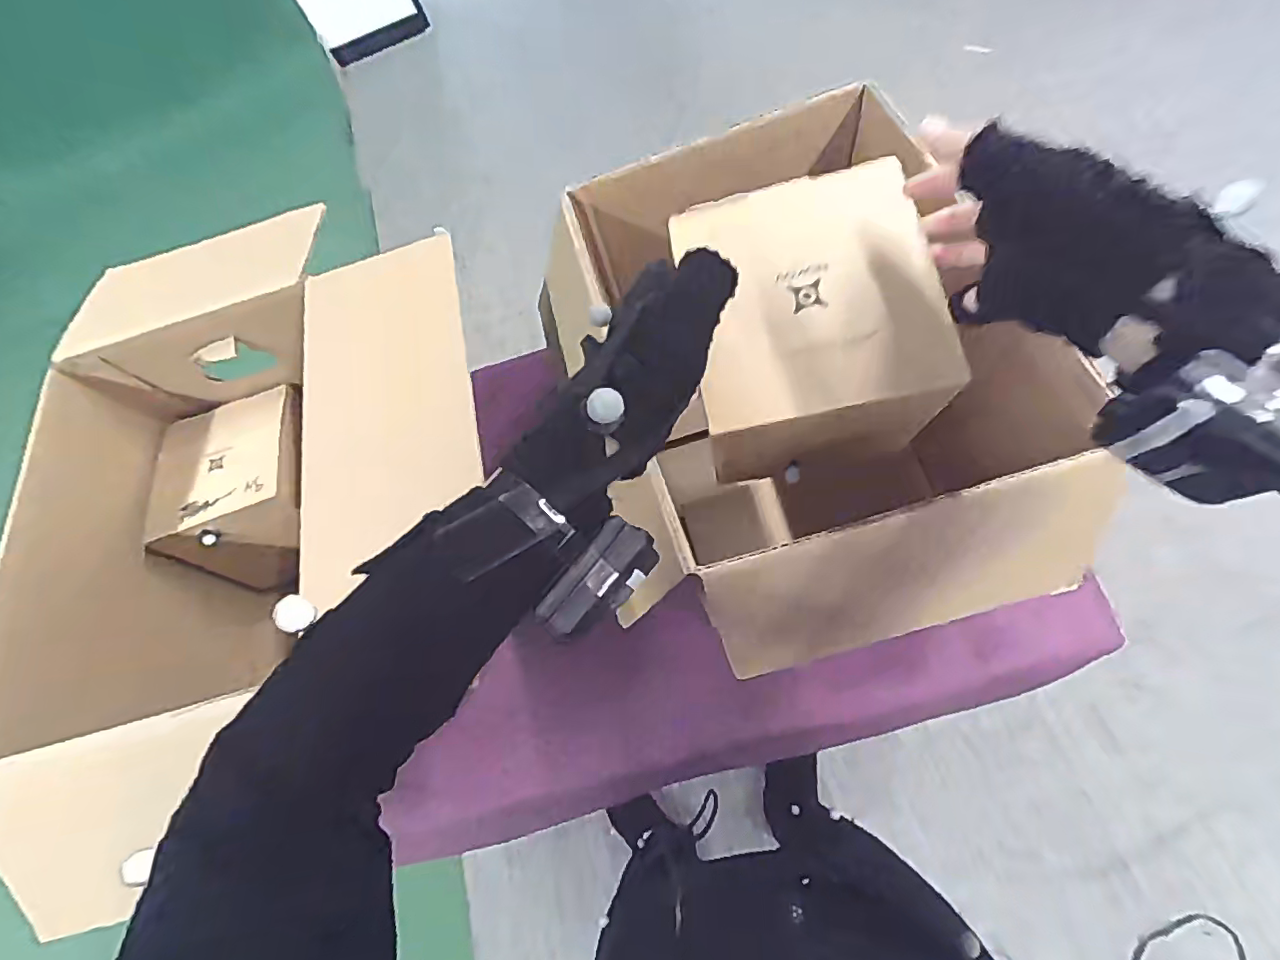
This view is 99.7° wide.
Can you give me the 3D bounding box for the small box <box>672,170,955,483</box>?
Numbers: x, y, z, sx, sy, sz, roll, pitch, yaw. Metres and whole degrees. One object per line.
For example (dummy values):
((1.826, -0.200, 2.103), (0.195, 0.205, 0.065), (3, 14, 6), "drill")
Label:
((0.128, -0.111, 0.459), (0.168, 0.176, 0.179), (-11, 74, 9), "small box")
